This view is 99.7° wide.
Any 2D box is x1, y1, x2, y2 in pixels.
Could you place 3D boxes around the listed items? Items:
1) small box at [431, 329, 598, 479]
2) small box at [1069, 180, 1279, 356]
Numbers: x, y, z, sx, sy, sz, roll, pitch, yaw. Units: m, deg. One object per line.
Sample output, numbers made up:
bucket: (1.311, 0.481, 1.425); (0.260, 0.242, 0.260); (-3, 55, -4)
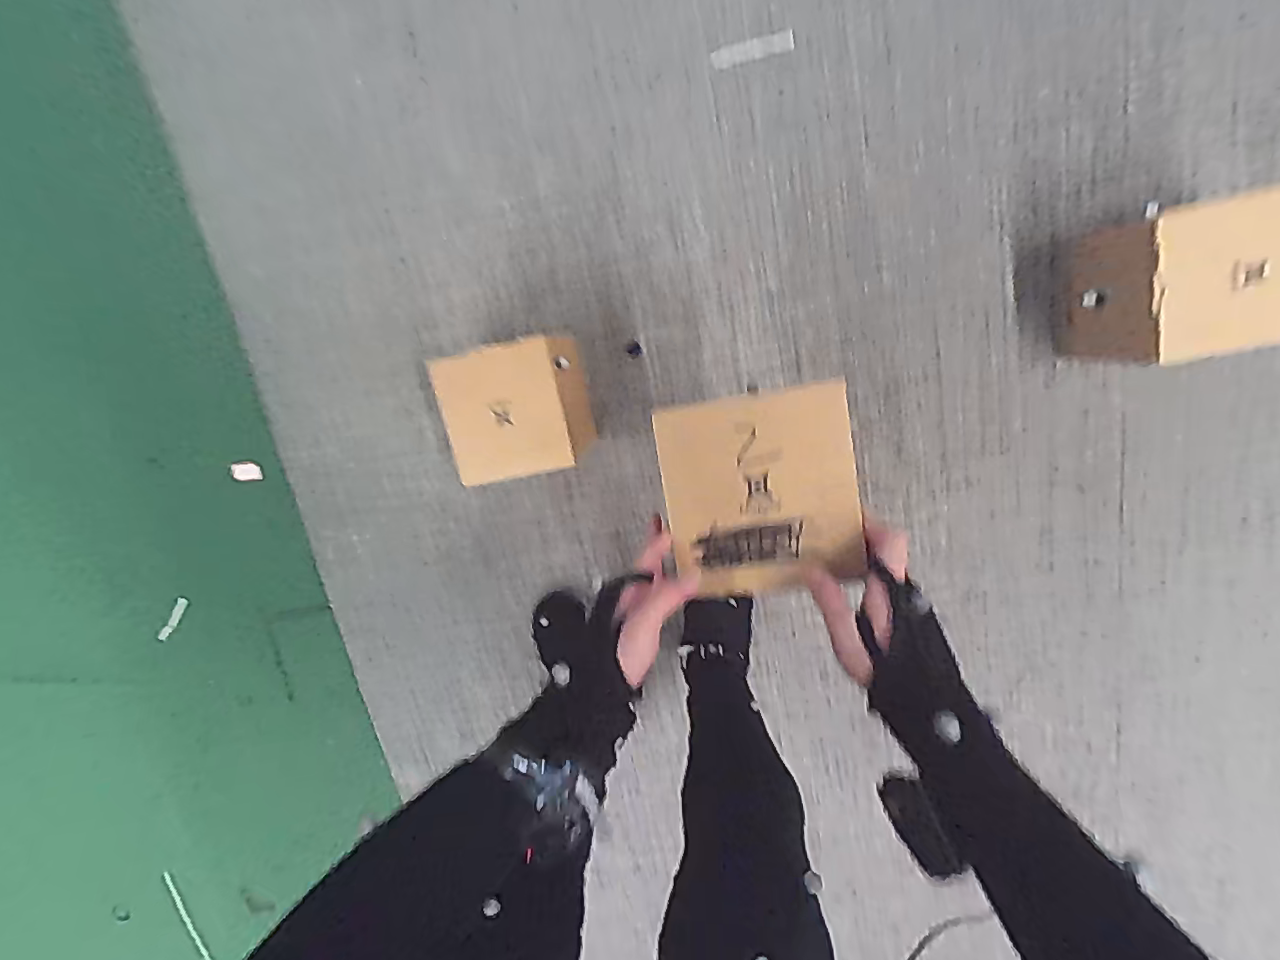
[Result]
small box: (-0.167, -0.115, 0.786); (0.168, 0.176, 0.179); (-11, 102, 9)
small box: (0.664, -0.249, 0.660); (0.179, 0.176, 0.168); (-10, 103, 9)
